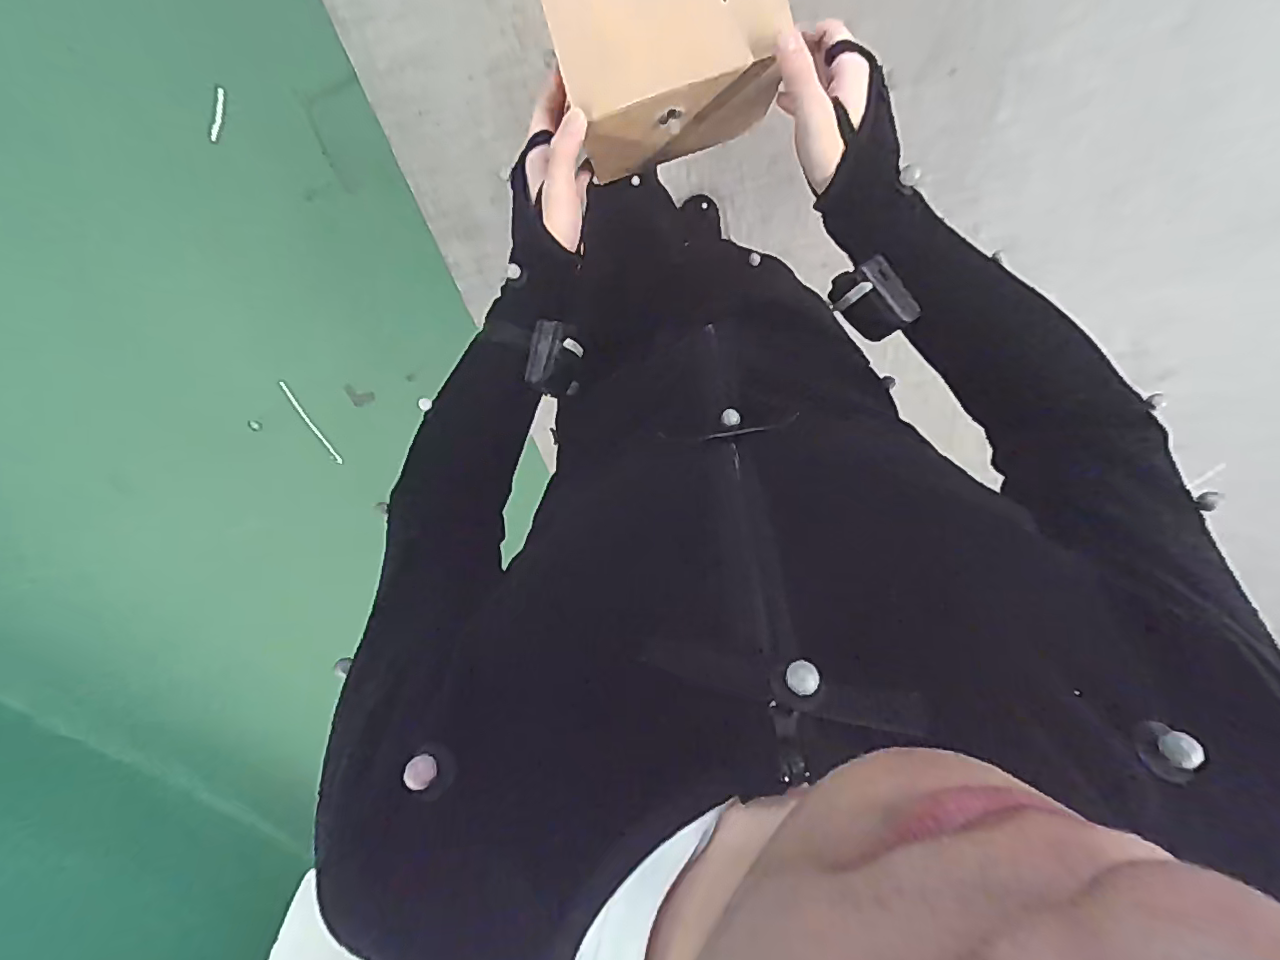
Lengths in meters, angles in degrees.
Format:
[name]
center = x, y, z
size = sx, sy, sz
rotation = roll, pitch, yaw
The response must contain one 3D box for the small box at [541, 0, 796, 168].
[small box]
center = 0.014, -0.394, 0.458
size = 0.179, 0.176, 0.168
rotation = -14, 104, 6
